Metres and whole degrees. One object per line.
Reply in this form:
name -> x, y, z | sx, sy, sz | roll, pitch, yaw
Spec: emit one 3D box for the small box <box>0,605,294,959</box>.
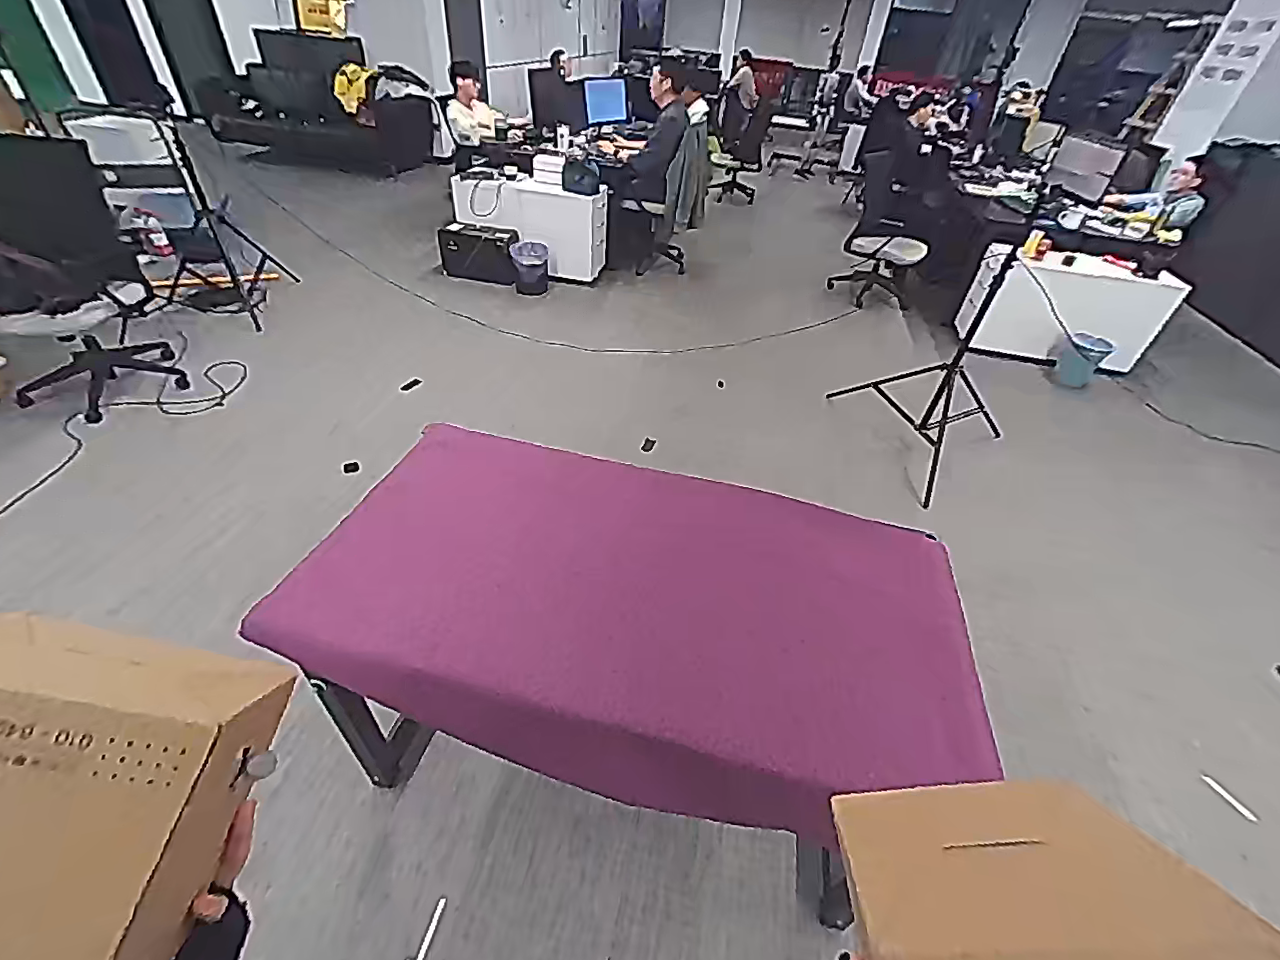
small box -> -0.301, 0.159, 0.259 | 0.168, 0.179, 0.176 | 21, 70, -17
